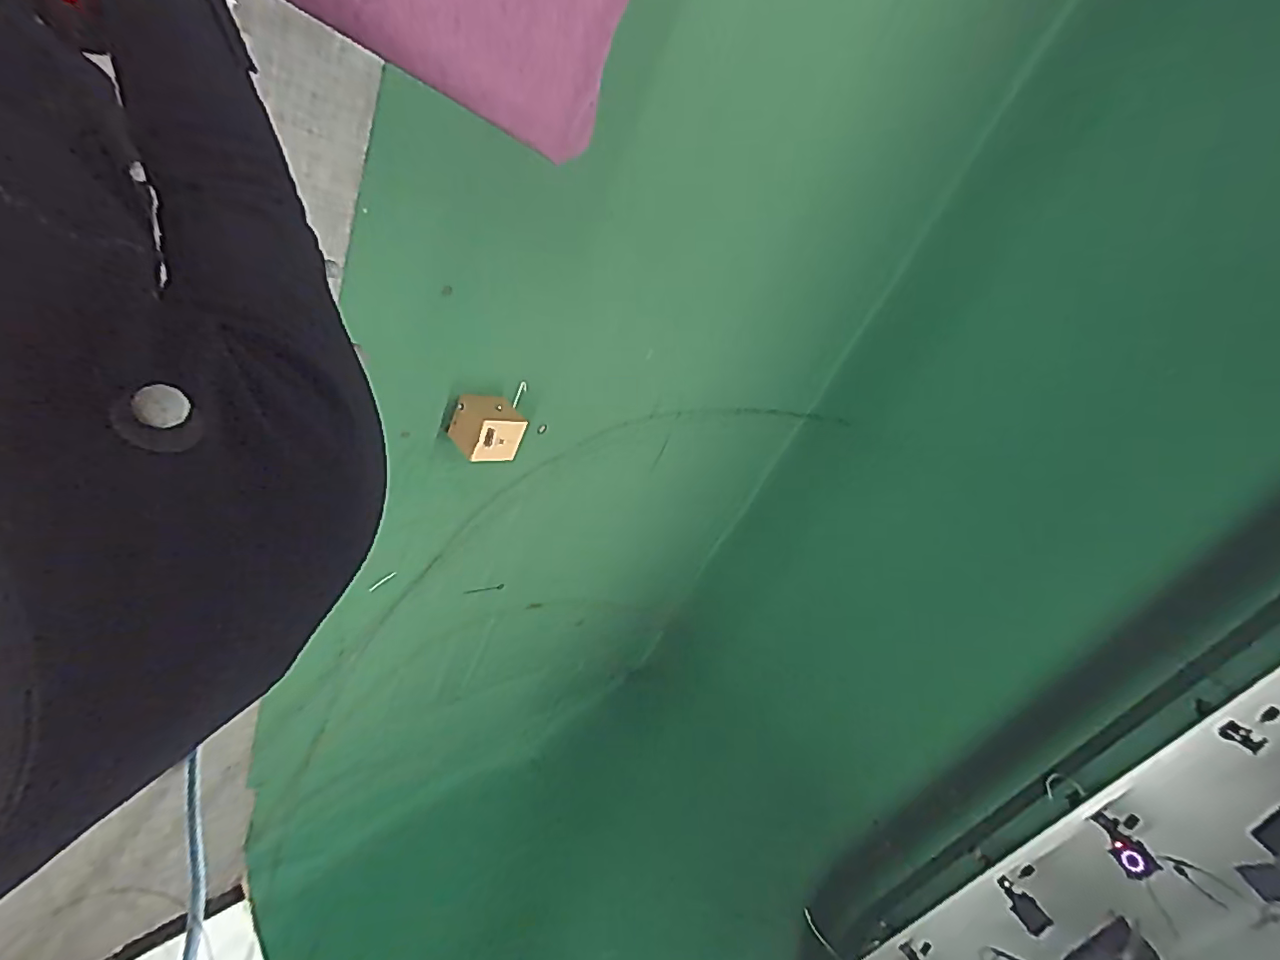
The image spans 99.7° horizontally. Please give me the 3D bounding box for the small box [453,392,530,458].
[{"bbox_3d":[-0.519,-0.191,1.871,0.179,0.176,0.168,-5,131,-50],"label":"small box"}]
